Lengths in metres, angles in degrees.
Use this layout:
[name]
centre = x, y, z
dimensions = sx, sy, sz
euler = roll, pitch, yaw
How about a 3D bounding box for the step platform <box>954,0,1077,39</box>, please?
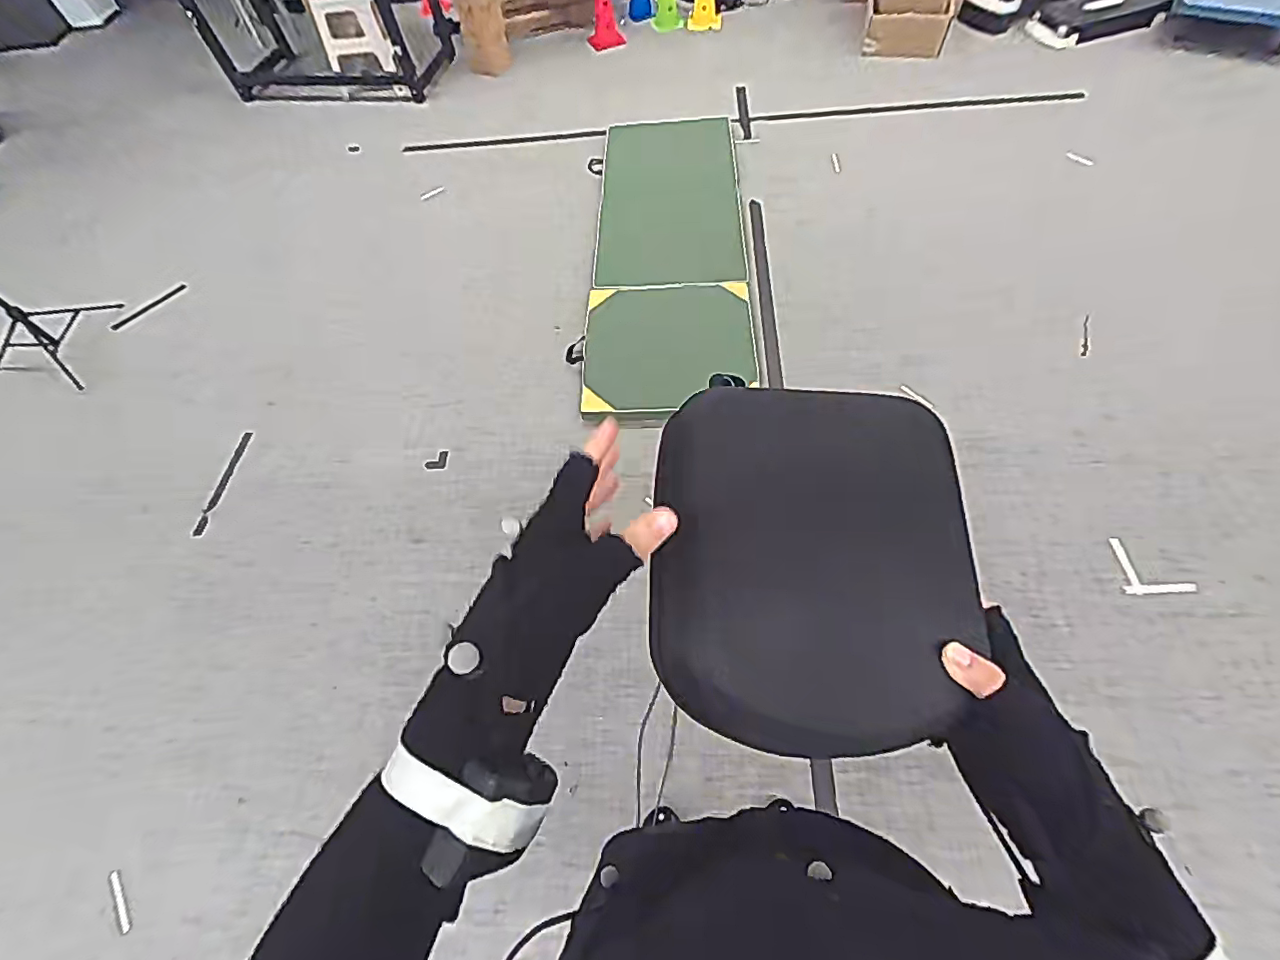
[step platform]
centre = 2.101, -2.671, 2.966
dimensions = 0.684, 0.204, 0.286
euler = -27, 61, -10
